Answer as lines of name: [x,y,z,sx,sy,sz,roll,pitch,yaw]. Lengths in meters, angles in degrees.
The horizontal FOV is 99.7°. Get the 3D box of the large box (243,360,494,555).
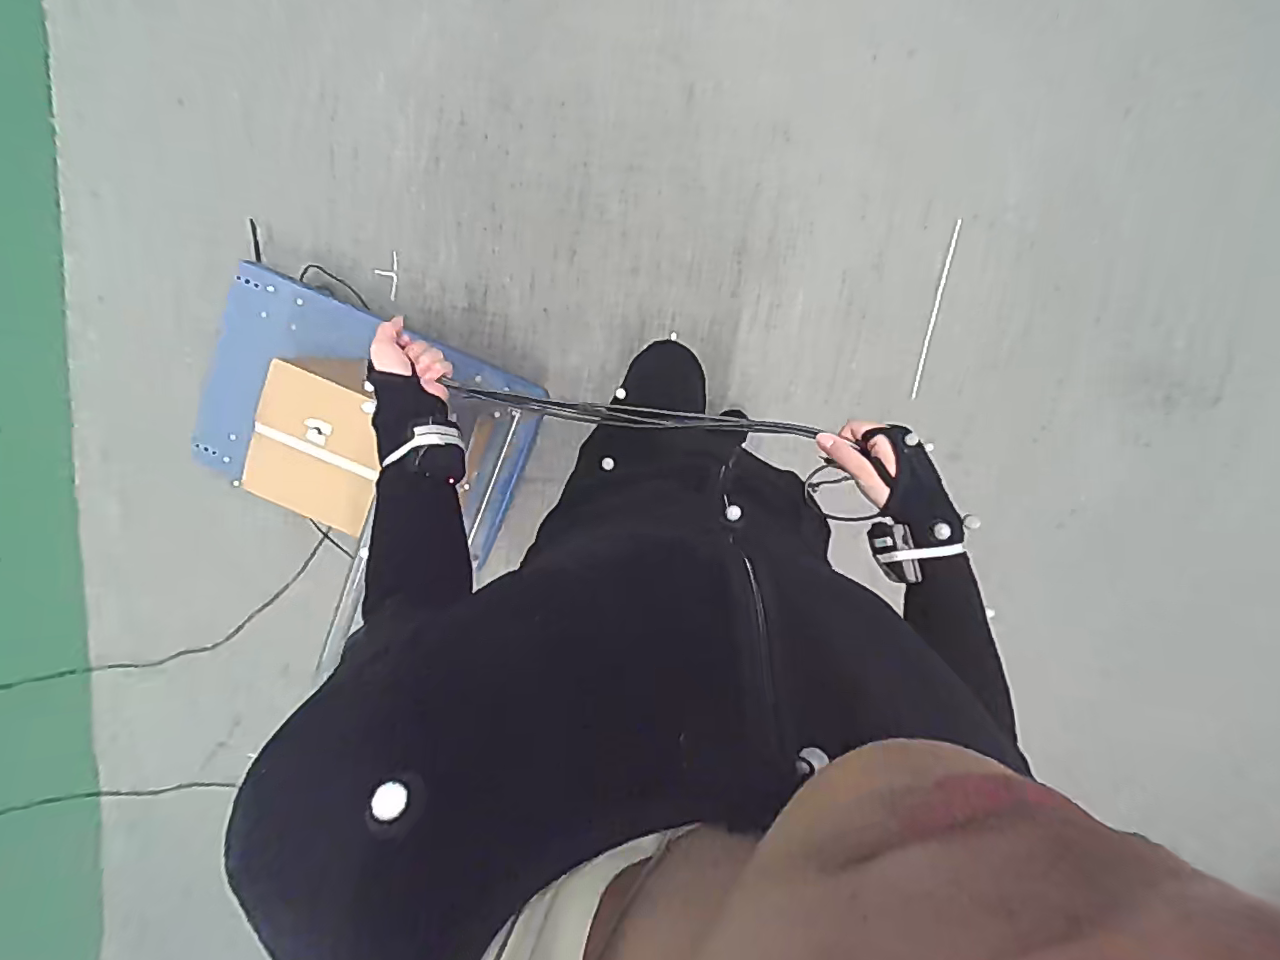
large box: [-0.627,-0.073,1.305,0.408,0.320,0.320,23,102,-1]
